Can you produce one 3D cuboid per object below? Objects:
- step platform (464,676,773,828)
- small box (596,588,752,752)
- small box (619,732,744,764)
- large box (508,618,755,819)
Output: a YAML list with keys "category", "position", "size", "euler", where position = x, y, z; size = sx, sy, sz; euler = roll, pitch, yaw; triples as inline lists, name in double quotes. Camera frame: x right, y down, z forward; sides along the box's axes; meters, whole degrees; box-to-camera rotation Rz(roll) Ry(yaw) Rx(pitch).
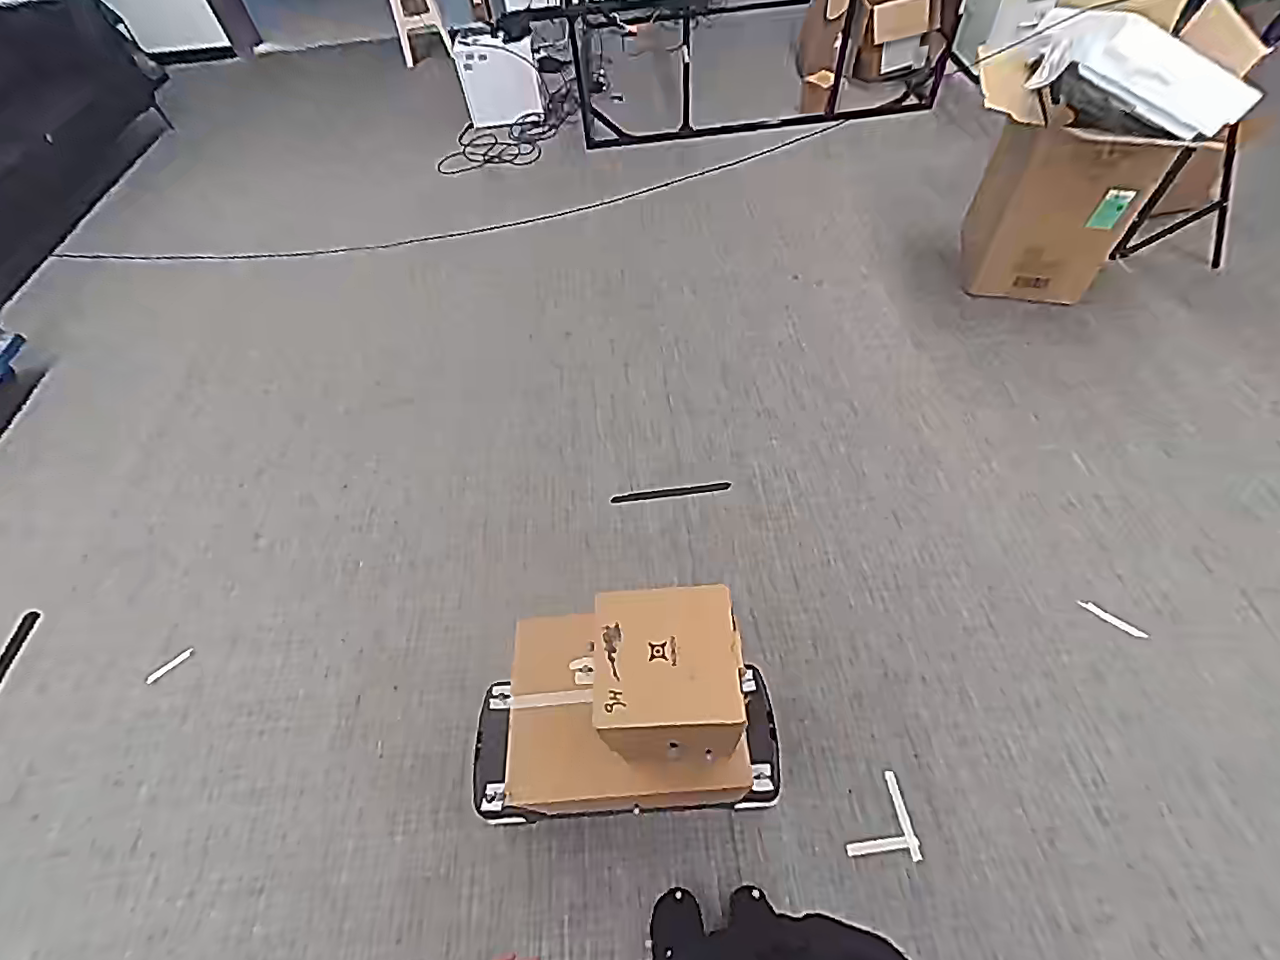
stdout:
- category: "step platform"
  position: [-0.044, 0.620, 1.248]
  size: [0.684, 0.204, 0.286]
  euler: [-1, 55, 5]
- category: "small box"
  position: [0.040, 0.251, 0.706]
  size: [0.179, 0.176, 0.168]
  euler: [-3, 54, 2]
- category: "small box"
  position: [0.057, 0.339, 0.844]
  size: [0.179, 0.176, 0.168]
  euler: [-6, 55, 2]
- category: "large box"
  position: [-0.010, 0.465, 1.062]
  size: [0.408, 0.320, 0.320]
  euler: [-6, 54, 2]
